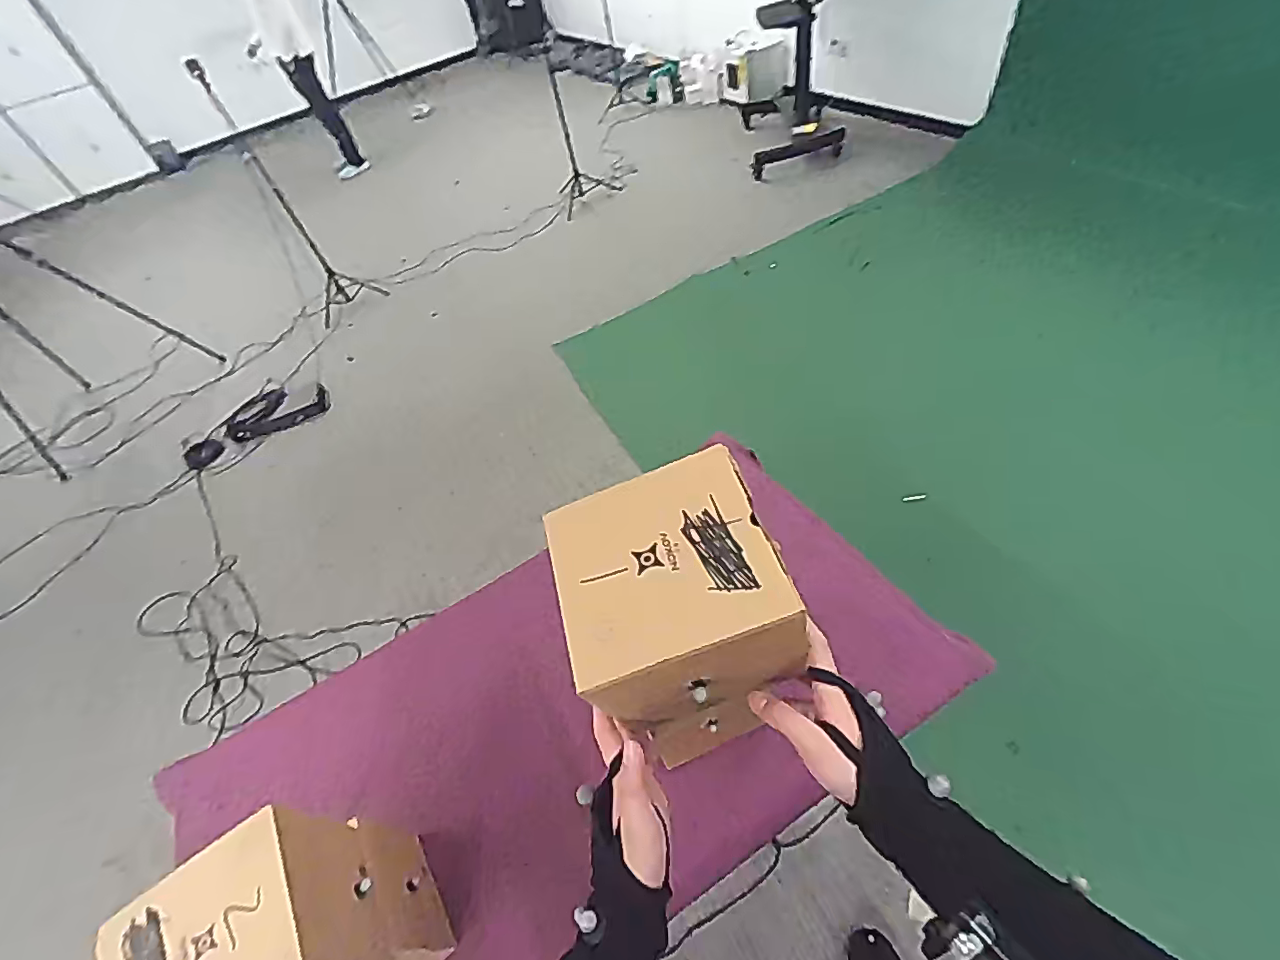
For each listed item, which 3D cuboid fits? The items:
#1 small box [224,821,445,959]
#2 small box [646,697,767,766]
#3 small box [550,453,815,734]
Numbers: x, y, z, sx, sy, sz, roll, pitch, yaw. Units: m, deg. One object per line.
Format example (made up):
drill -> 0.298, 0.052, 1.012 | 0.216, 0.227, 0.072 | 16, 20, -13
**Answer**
small box -> -0.373, 0.578, 0.687 | 0.179, 0.176, 0.168 | -34, 51, -15
small box -> 0.080, 0.302, 0.815 | 0.179, 0.176, 0.168 | -22, 49, -6
small box -> 0.041, 0.110, 0.488 | 0.179, 0.176, 0.168 | -21, 53, 4
